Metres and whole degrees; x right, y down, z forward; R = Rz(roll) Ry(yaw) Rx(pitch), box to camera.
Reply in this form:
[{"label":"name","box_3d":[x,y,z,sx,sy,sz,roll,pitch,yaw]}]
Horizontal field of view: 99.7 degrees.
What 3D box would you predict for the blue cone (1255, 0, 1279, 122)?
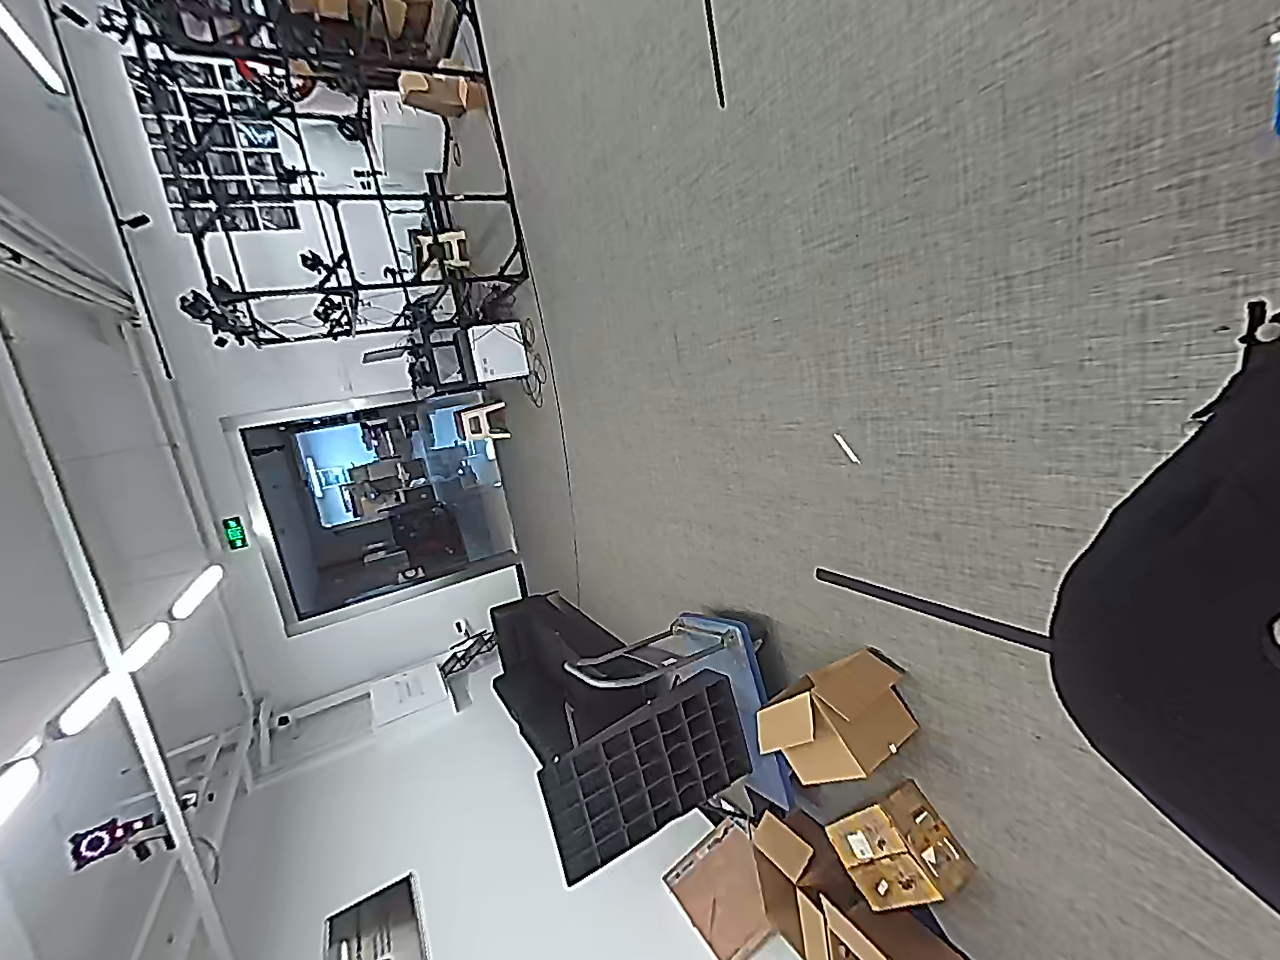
[{"label":"blue cone","box_3d":[0.966,-0.631,0.749,0.192,0.380,0.193,19,120,60]}]
